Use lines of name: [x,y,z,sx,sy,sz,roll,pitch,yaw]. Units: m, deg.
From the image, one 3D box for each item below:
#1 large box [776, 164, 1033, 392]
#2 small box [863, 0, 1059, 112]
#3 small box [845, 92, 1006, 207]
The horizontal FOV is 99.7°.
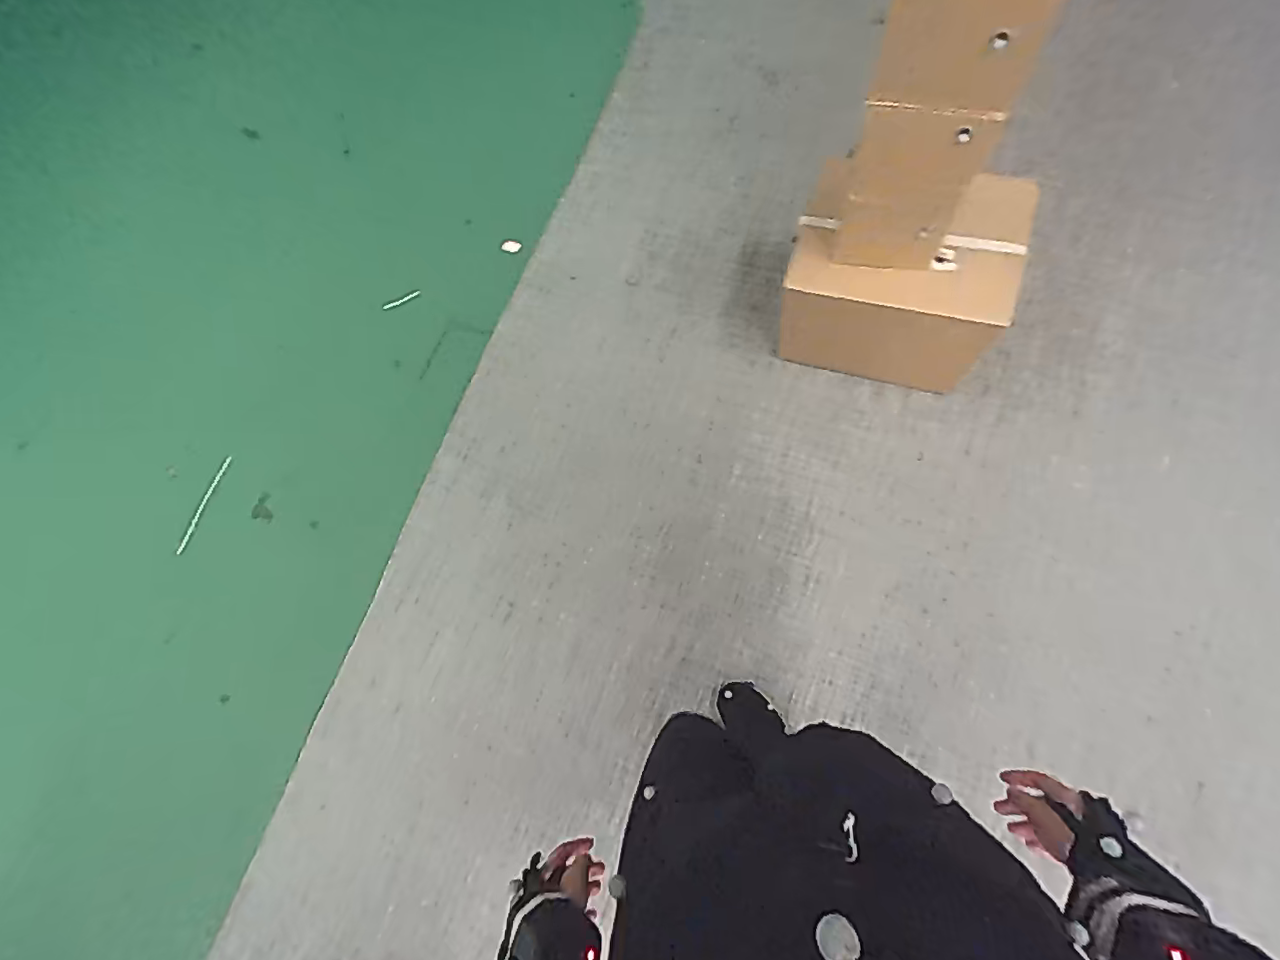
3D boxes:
large box: [0.538,-0.426,1.181,0.408,0.320,0.320,16,80,14]
small box: [0.391,-0.583,0.653,0.179,0.176,0.168,15,78,15]
small box: [0.421,-0.539,0.806,0.179,0.176,0.168,15,79,14]
